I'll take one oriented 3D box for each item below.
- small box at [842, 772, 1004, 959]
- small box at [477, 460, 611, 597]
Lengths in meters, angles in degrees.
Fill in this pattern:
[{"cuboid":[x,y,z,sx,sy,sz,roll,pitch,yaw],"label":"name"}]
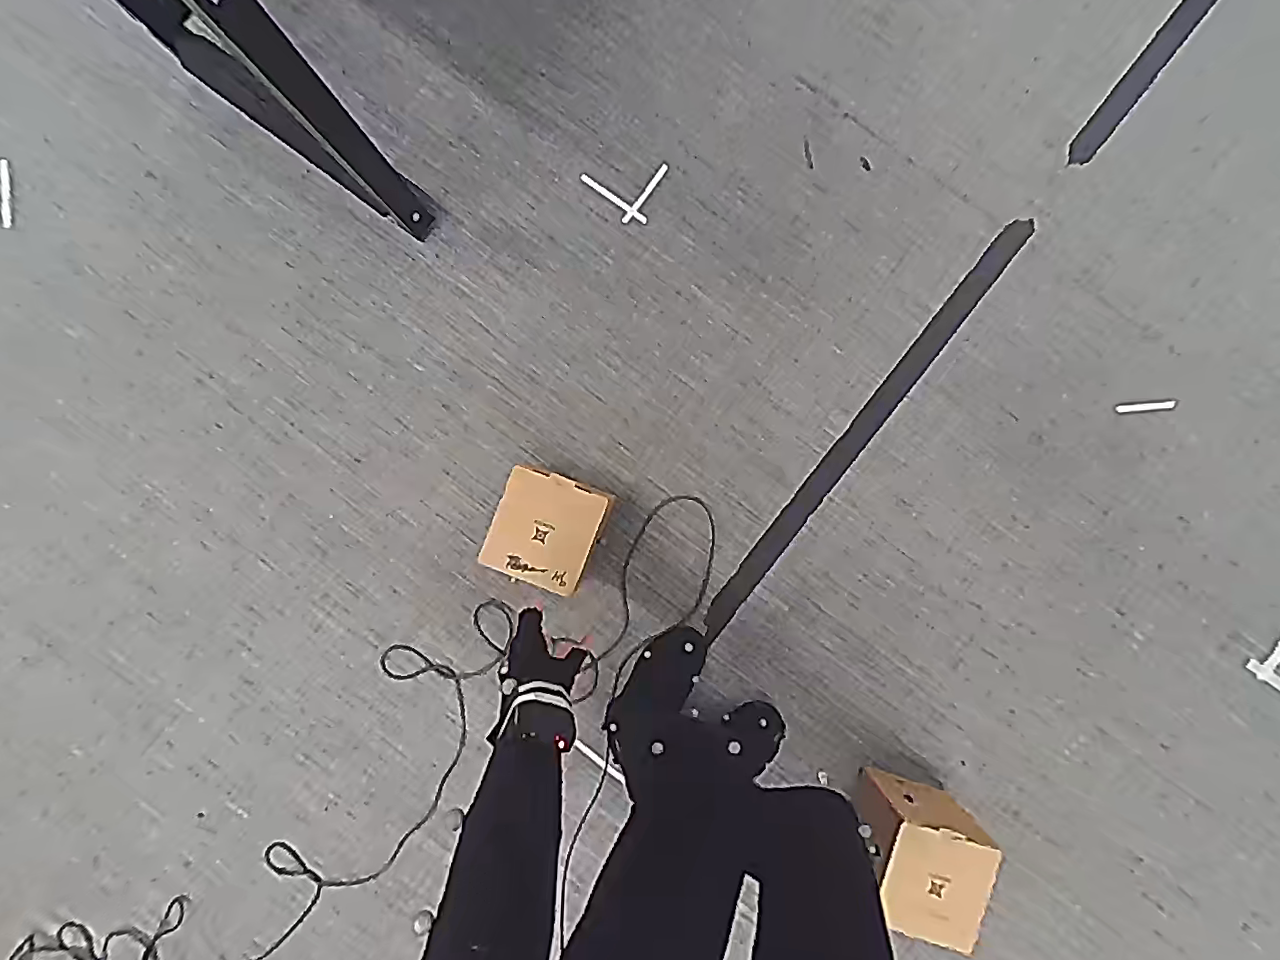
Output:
[{"cuboid":[0.465,0.637,0.919,0.168,0.176,0.179,17,90,3],"label":"small box"},{"cuboid":[-0.155,0.079,0.939,0.168,0.176,0.179,21,89,1],"label":"small box"}]
